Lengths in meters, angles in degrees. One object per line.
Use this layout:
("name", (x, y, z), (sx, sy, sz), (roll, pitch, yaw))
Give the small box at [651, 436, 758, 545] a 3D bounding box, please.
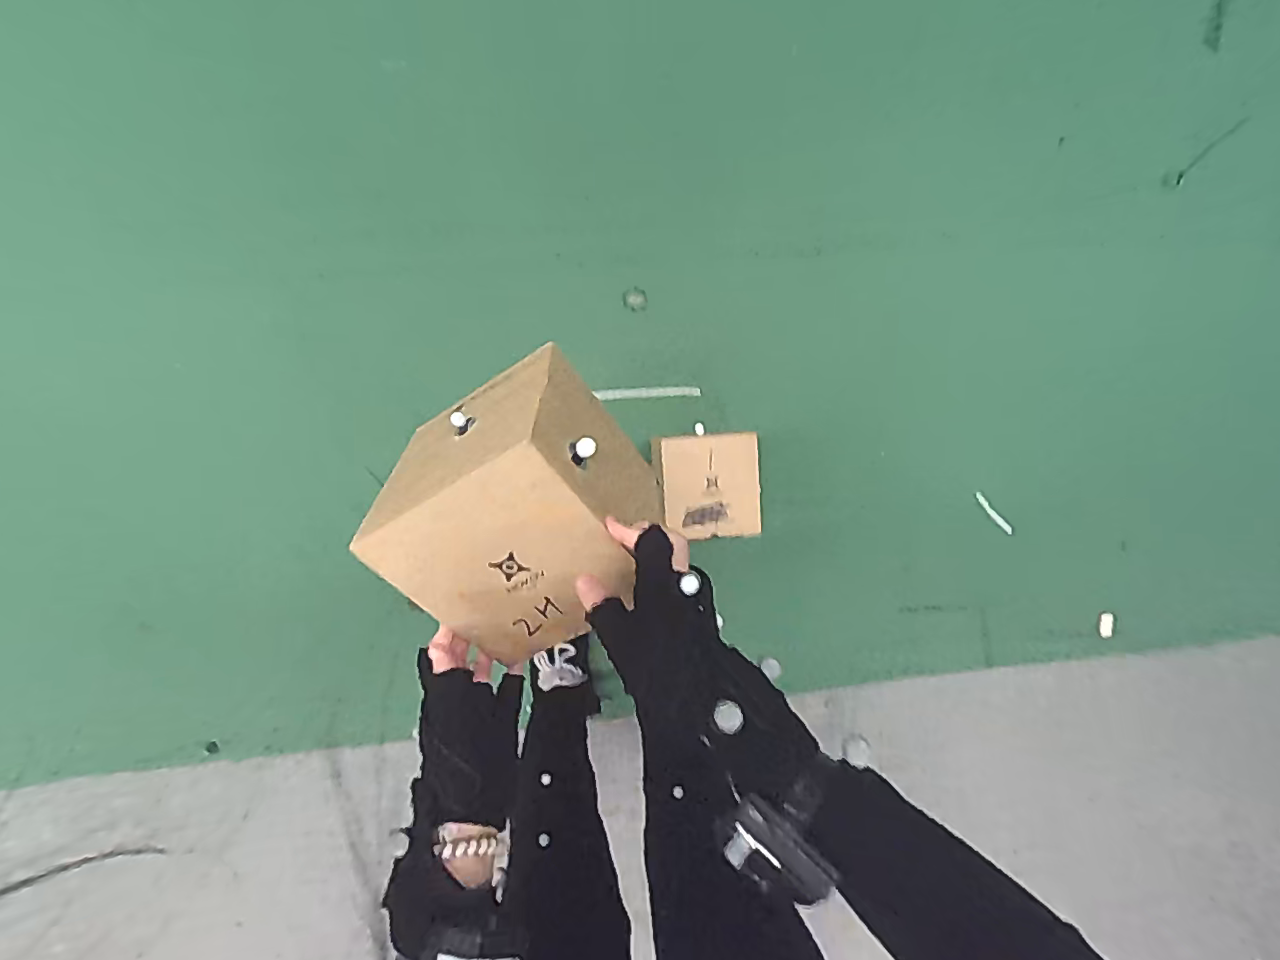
("small box", (0.113, 0.012, 0.993), (0.168, 0.176, 0.179), (-4, 95, -5))
